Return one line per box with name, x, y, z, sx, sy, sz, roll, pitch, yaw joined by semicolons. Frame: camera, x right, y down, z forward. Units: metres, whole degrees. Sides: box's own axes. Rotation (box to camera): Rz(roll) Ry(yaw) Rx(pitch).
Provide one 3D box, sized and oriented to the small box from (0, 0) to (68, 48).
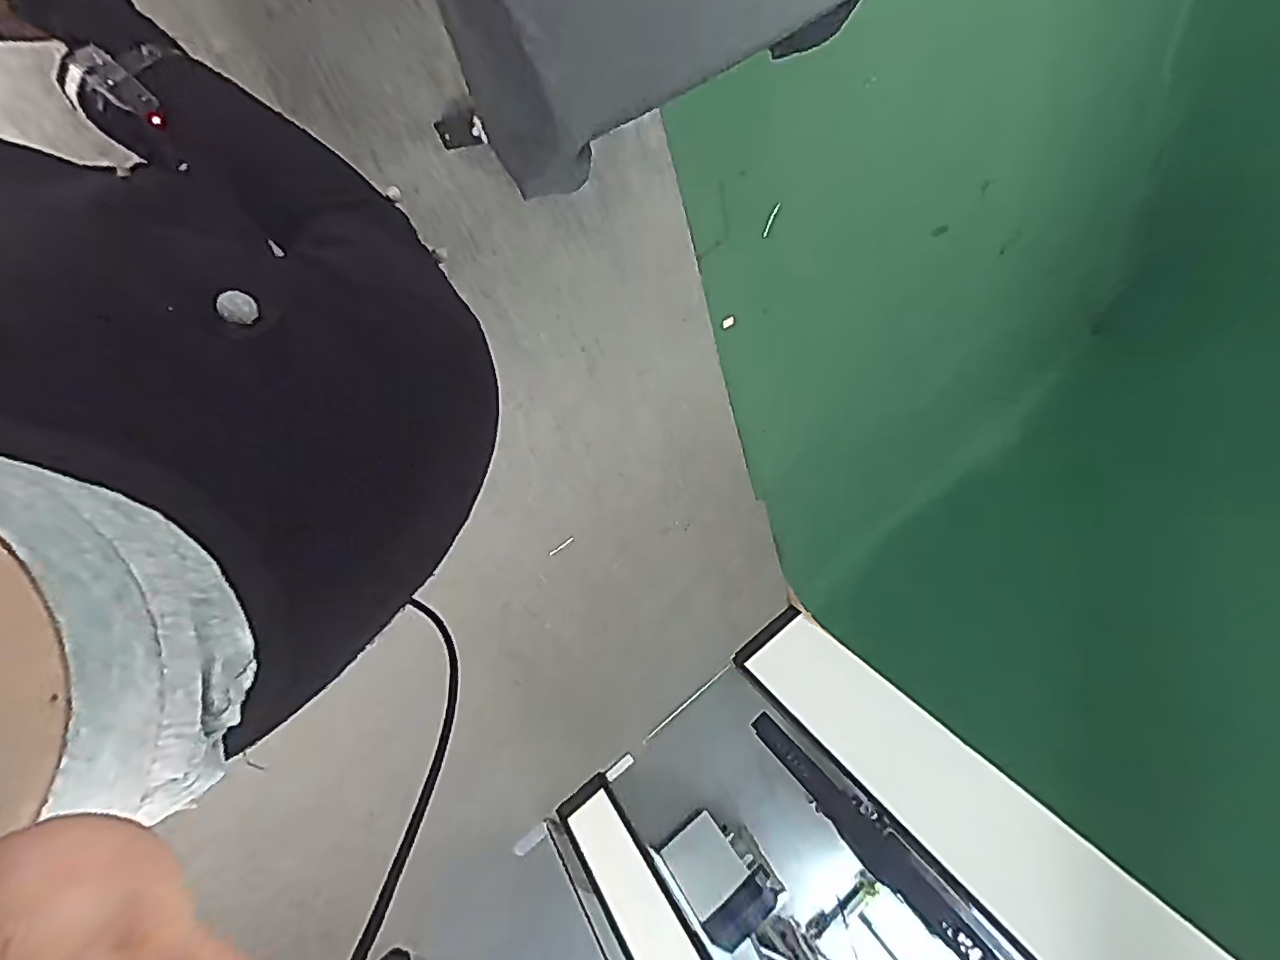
small box;-0.584;-0.440;0.394;0.168;0.176;0.179;-27;123;-27
